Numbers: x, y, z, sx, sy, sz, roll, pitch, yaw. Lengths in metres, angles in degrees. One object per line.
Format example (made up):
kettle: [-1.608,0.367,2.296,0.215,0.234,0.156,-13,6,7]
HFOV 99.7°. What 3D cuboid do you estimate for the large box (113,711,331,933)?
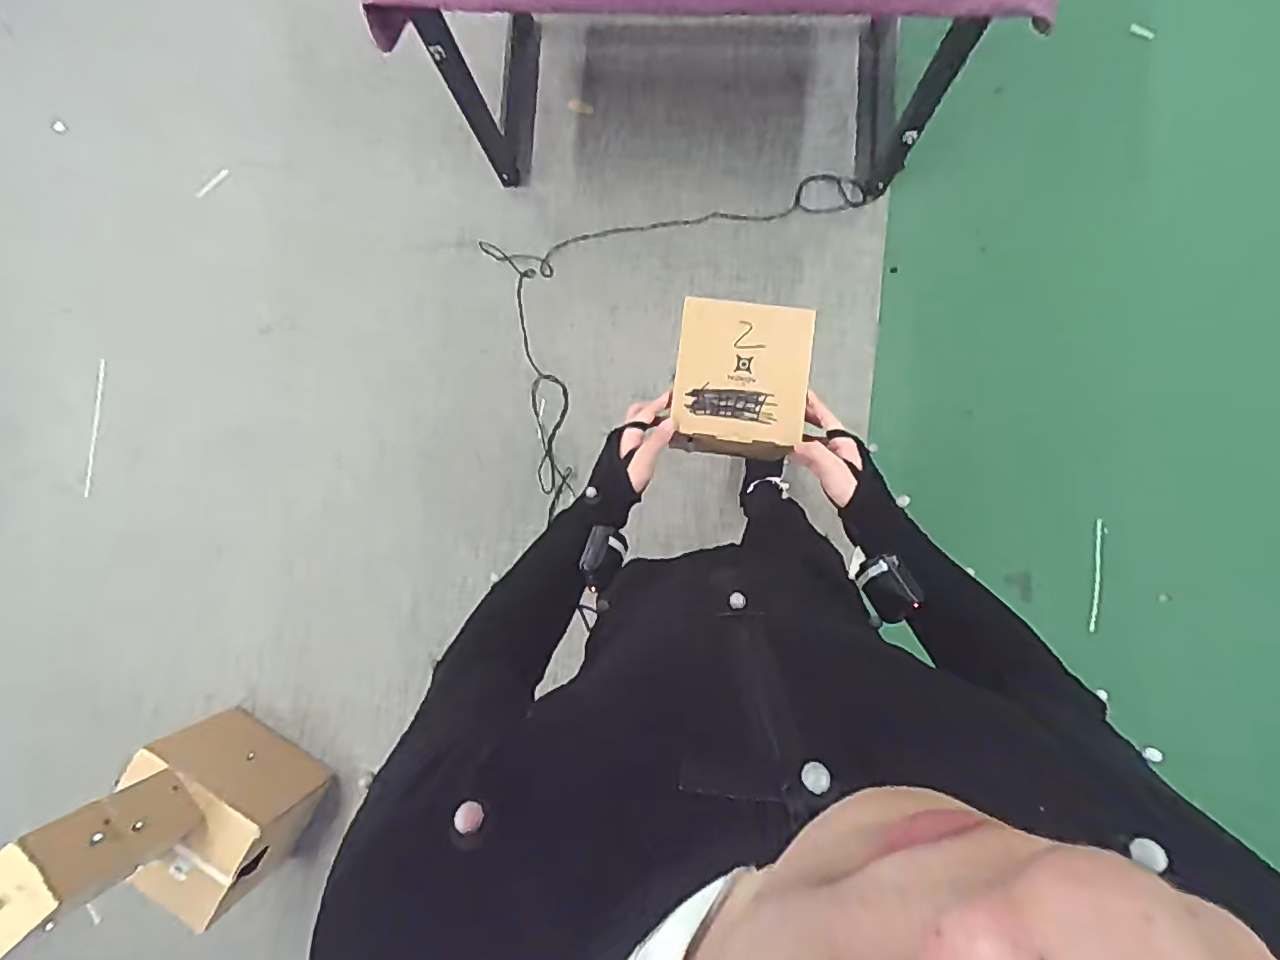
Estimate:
large box: [-1.204,0.936,1.538,0.408,0.320,0.320,29,90,4]

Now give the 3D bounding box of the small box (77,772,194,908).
small box: [-1.245,0.853,1.300,0.179,0.176,0.168,-41,84,1]

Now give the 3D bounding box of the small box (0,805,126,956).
small box: [-1.259,0.840,1.135,0.179,0.176,0.168,-42,85,-1]

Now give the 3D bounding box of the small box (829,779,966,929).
small box: [0.538,0.782,1.161,0.179,0.176,0.168,45,92,5]
